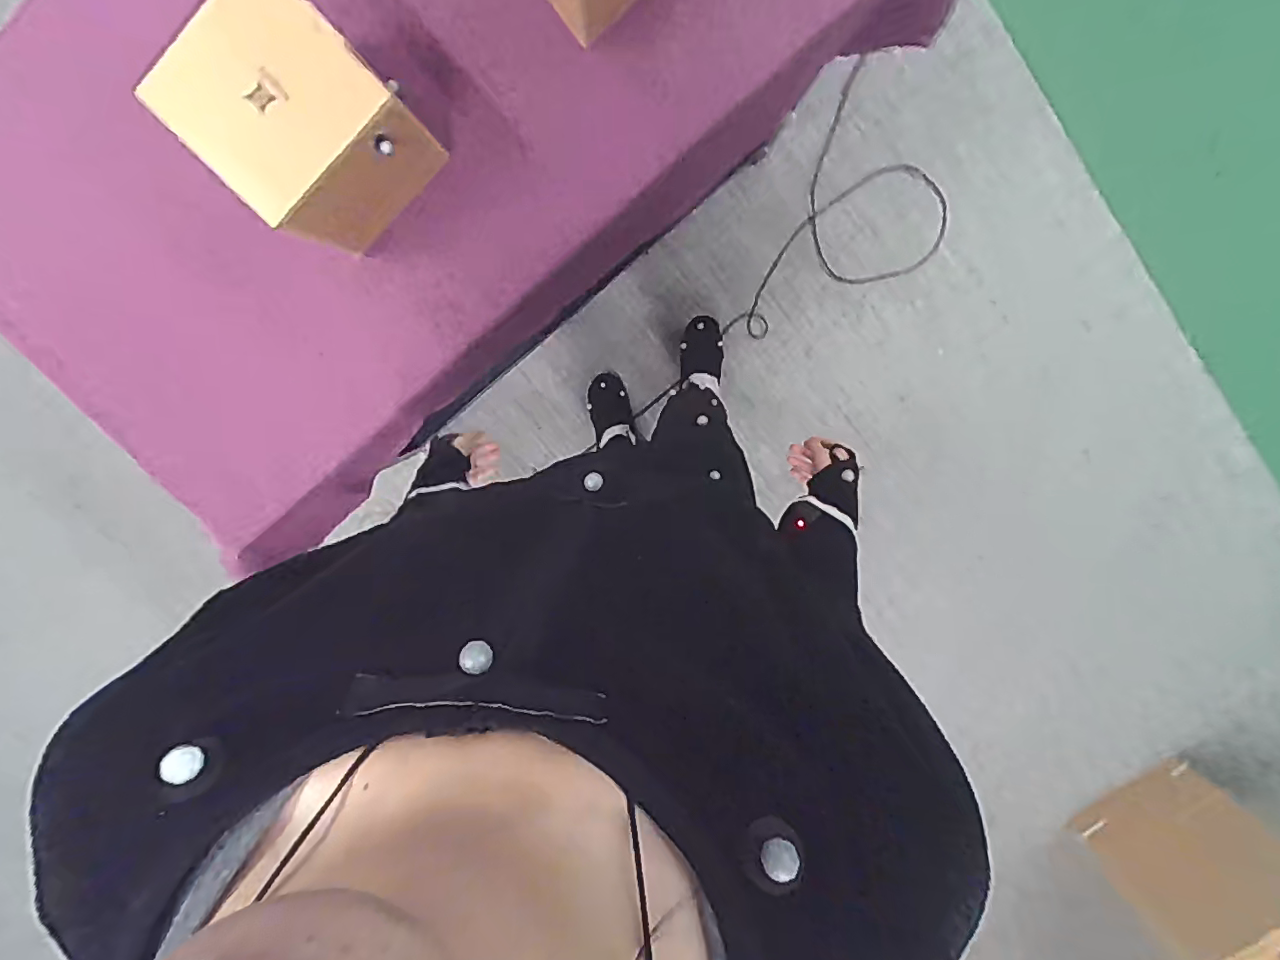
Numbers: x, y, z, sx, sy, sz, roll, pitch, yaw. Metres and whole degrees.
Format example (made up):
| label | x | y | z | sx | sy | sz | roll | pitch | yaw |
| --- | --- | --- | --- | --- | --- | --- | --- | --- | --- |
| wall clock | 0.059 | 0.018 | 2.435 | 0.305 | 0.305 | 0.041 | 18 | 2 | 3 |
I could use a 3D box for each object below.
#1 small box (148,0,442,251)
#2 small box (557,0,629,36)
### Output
| label | x | y | z | sx | sy | sz | roll | pitch | yaw |
| --- | --- | --- | --- | --- | --- | --- | --- | --- | --- |
| small box | -0.351 | -0.382 | 0.589 | 0.179 | 0.176 | 0.168 | -43 | 100 | 7 |
| small box | -0.047 | -0.612 | 0.540 | 0.179 | 0.176 | 0.168 | -39 | 101 | 7 |
